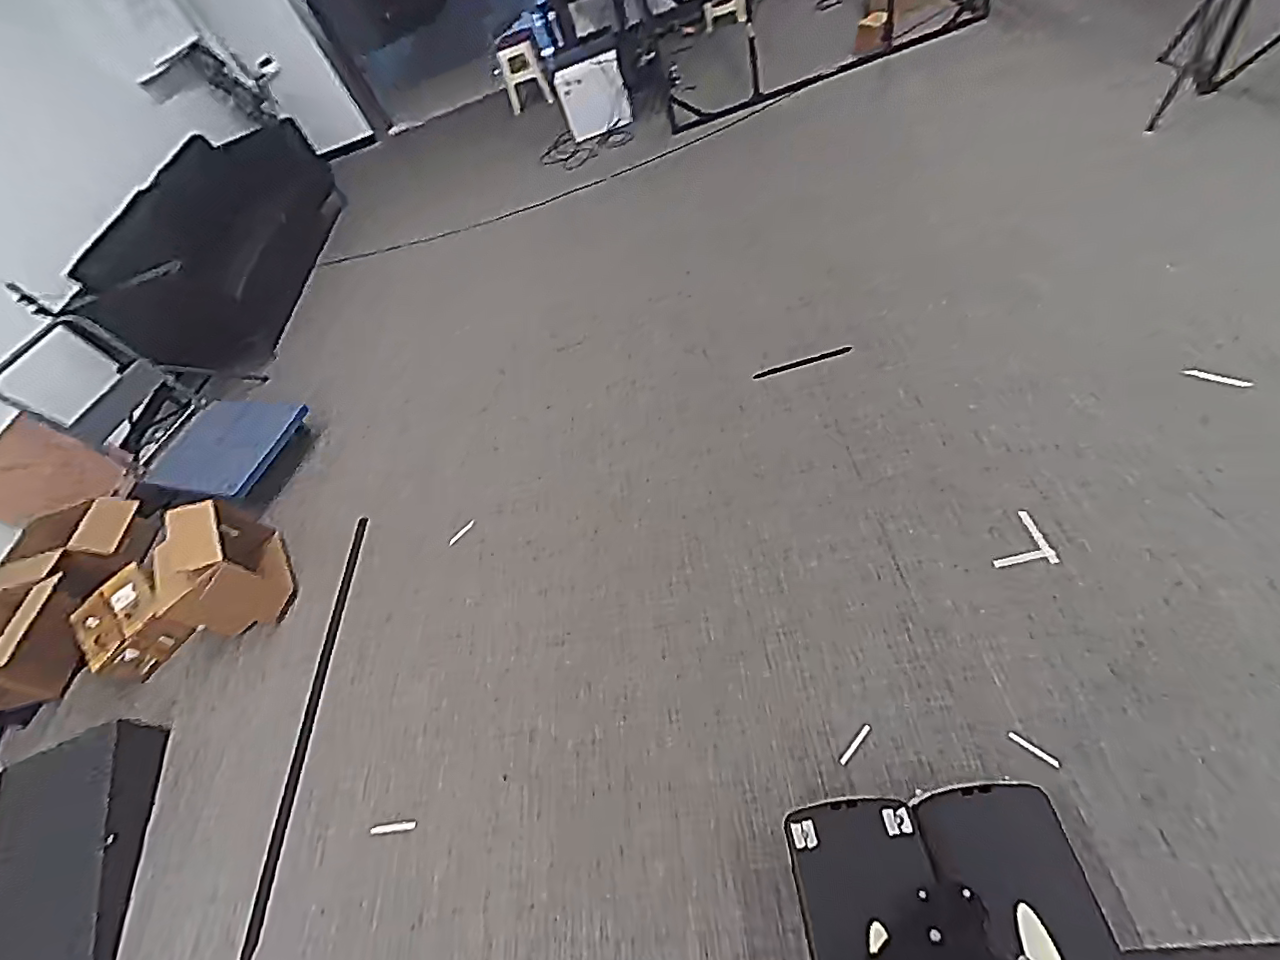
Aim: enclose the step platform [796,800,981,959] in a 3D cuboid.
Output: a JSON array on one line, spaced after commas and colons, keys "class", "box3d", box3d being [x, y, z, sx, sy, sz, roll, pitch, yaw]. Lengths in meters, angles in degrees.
[{"class": "step platform", "box3d": [0.527, 1.015, 1.043, 0.286, 0.204, 0.684, -15, 51, 9]}]
